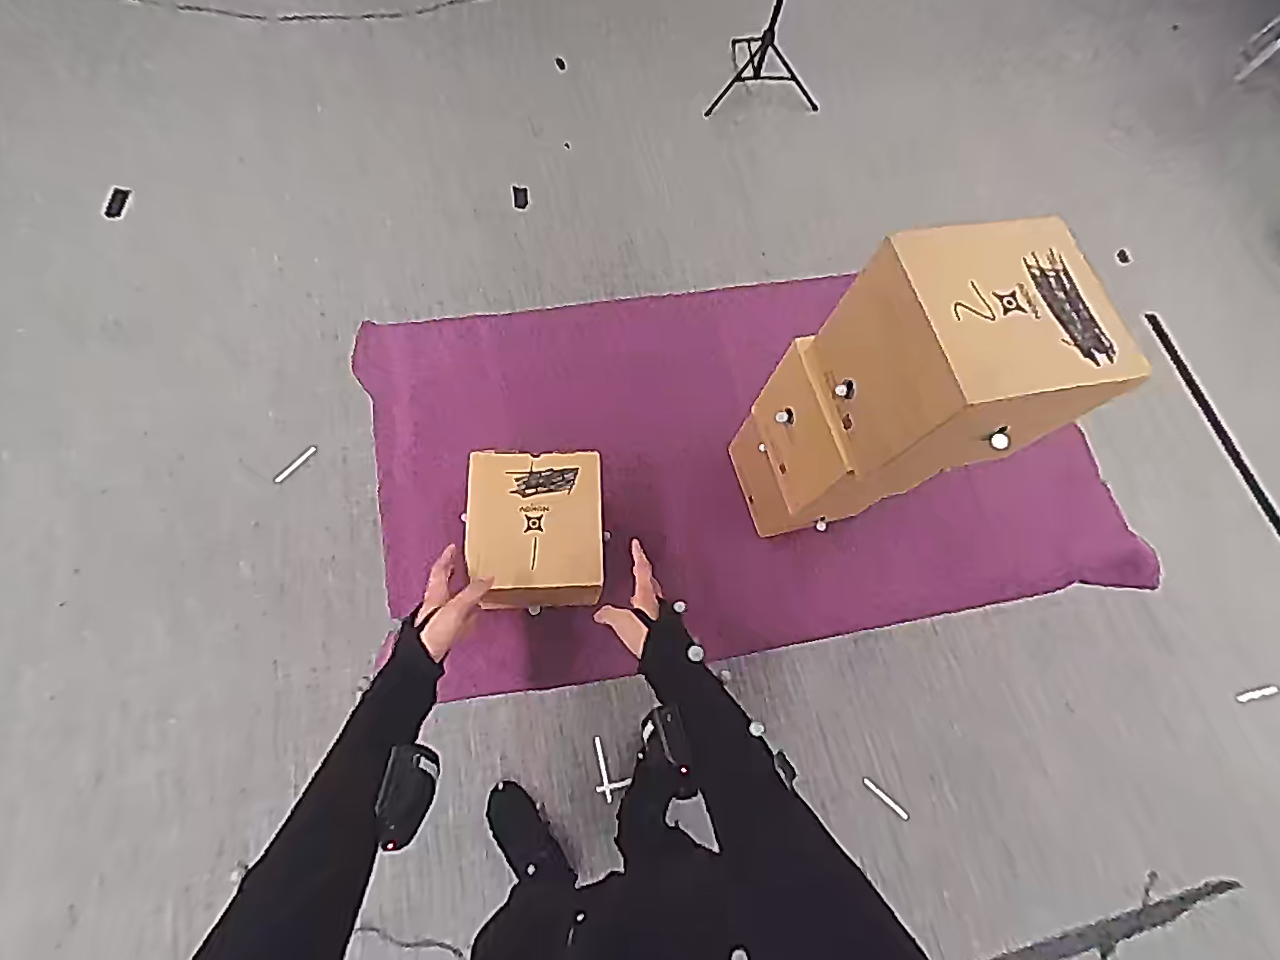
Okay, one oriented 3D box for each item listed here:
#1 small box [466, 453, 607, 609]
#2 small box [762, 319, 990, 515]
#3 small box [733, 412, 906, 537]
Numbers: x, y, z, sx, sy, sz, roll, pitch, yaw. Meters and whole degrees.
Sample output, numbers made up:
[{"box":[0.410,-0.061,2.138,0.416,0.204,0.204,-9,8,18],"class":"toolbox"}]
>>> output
[{"box":[-0.134,0.075,0.735,0.168,0.176,0.179,-1,70,-7],"class":"small box"},{"box":[0.266,-0.068,0.663,0.179,0.176,0.168,-12,71,-11],"class":"small box"},{"box":[0.264,-0.025,0.821,0.179,0.176,0.168,-12,71,-12],"class":"small box"}]
